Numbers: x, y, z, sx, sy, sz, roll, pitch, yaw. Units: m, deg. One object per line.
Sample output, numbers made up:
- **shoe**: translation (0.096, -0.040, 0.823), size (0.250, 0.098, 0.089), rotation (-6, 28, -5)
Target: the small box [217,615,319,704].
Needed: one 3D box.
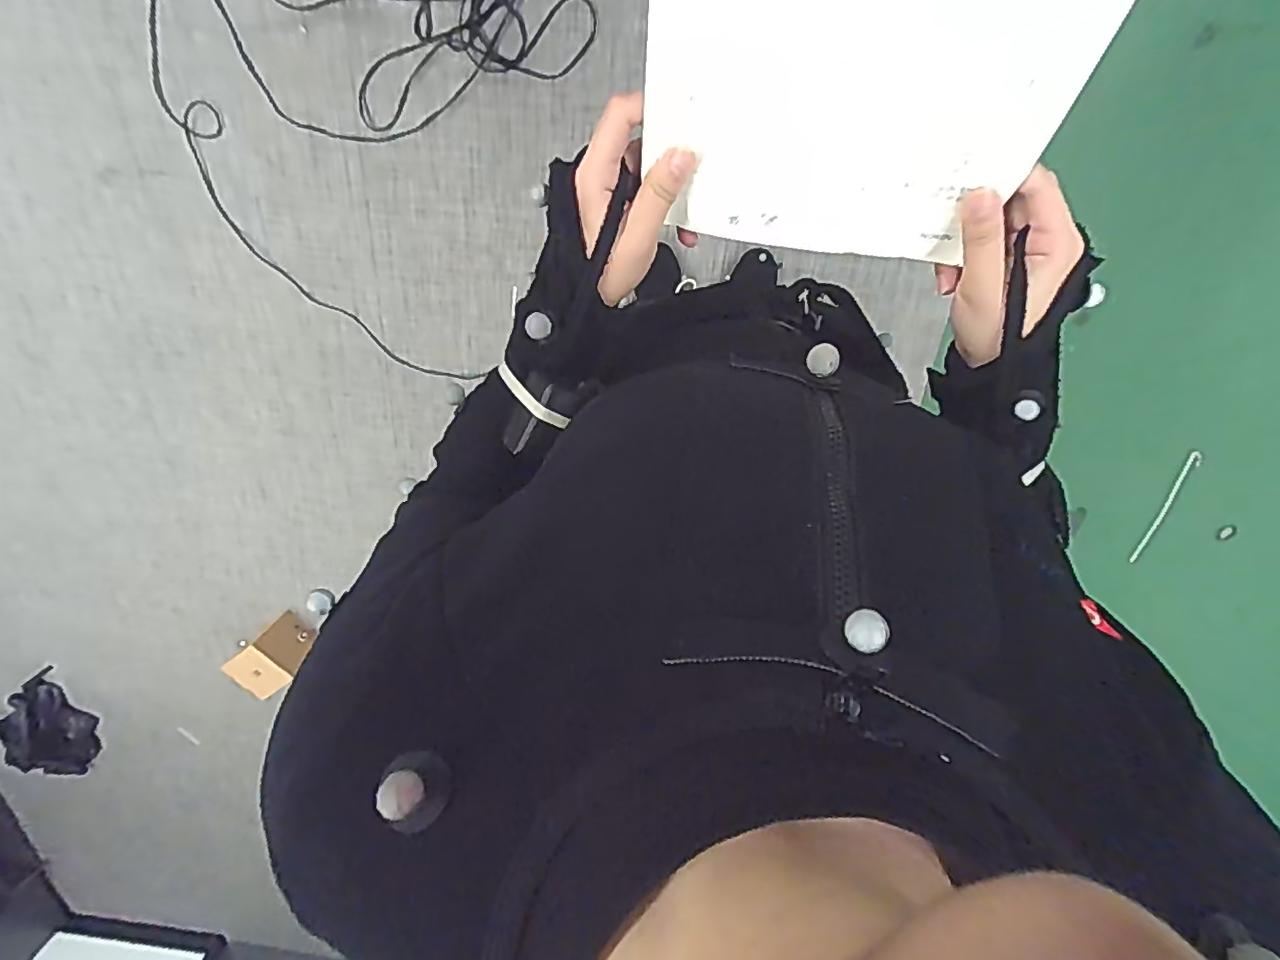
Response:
- **small box**: translation (-1.172, 0.568, 1.719), size (0.179, 0.176, 0.168), rotation (-34, 108, 18)
